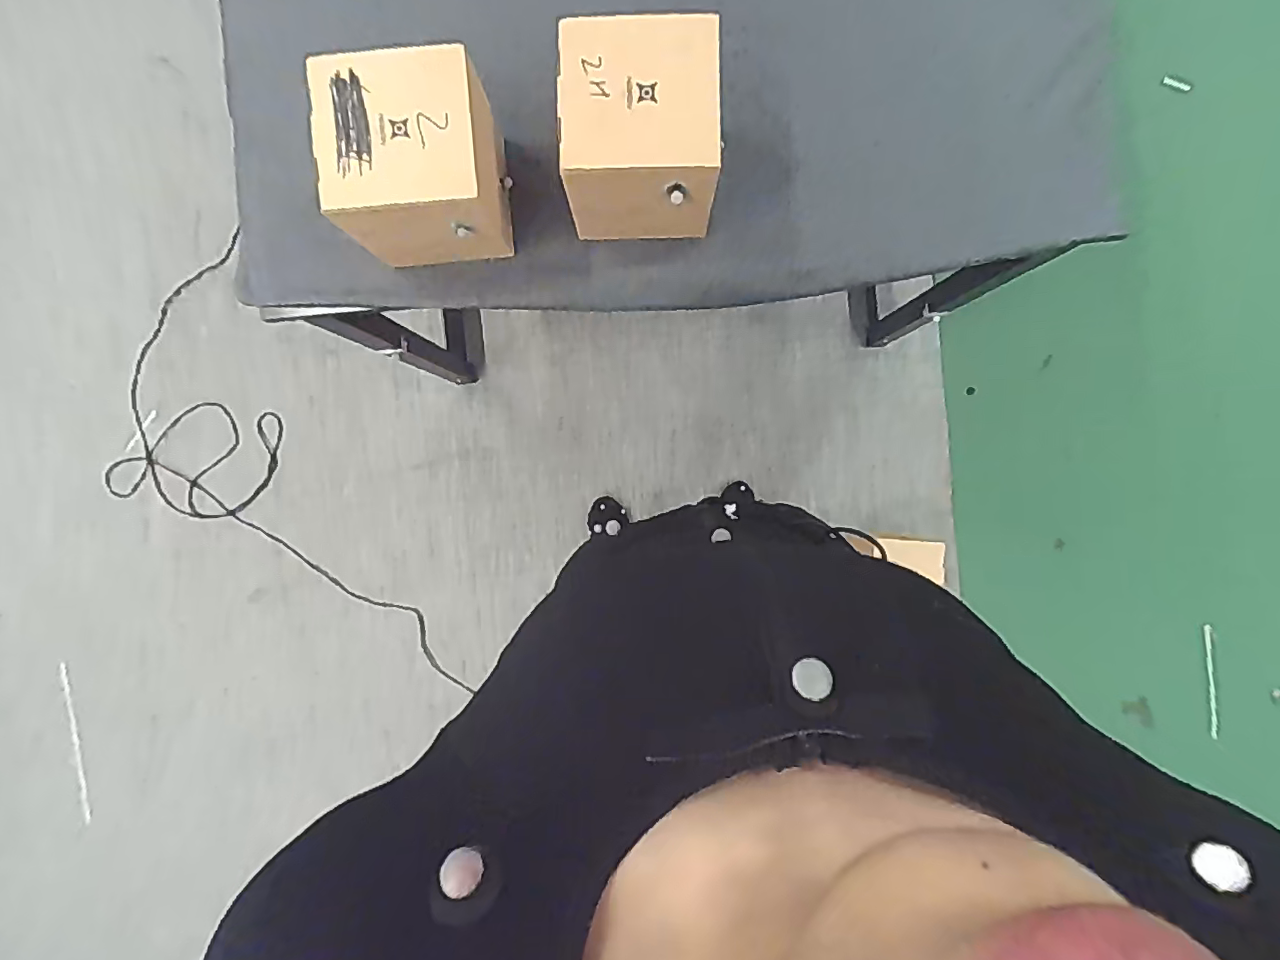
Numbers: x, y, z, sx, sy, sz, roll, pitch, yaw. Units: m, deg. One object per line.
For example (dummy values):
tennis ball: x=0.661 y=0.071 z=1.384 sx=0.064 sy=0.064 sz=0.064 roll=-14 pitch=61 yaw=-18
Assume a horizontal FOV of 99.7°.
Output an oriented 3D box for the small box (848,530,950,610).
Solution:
small box: x=0.657 y=0.225 z=1.390 sx=0.179 sy=0.176 sz=0.168 roll=4 pitch=93 yaw=1

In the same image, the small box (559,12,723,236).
small box: x=0.003 y=-0.414 z=0.655 sx=0.179 sy=0.176 sz=0.168 roll=0 pitch=90 yaw=2
